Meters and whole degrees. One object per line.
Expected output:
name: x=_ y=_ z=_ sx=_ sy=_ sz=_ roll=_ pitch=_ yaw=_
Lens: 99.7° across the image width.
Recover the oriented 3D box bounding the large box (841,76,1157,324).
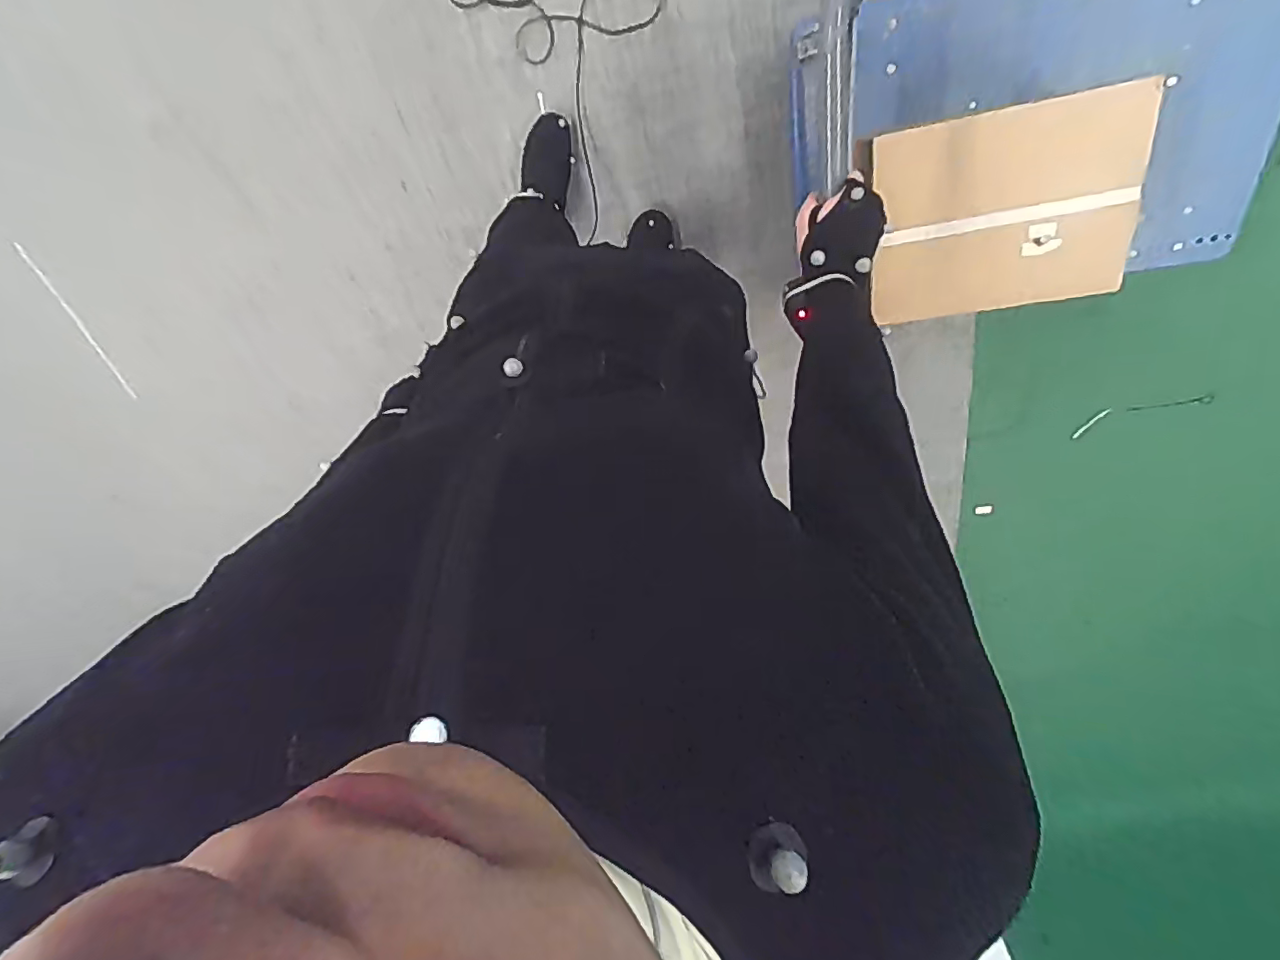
large box: x=0.625 y=-0.521 z=1.042 sx=0.408 sy=0.320 sz=0.320 roll=-6 pitch=120 yaw=12
